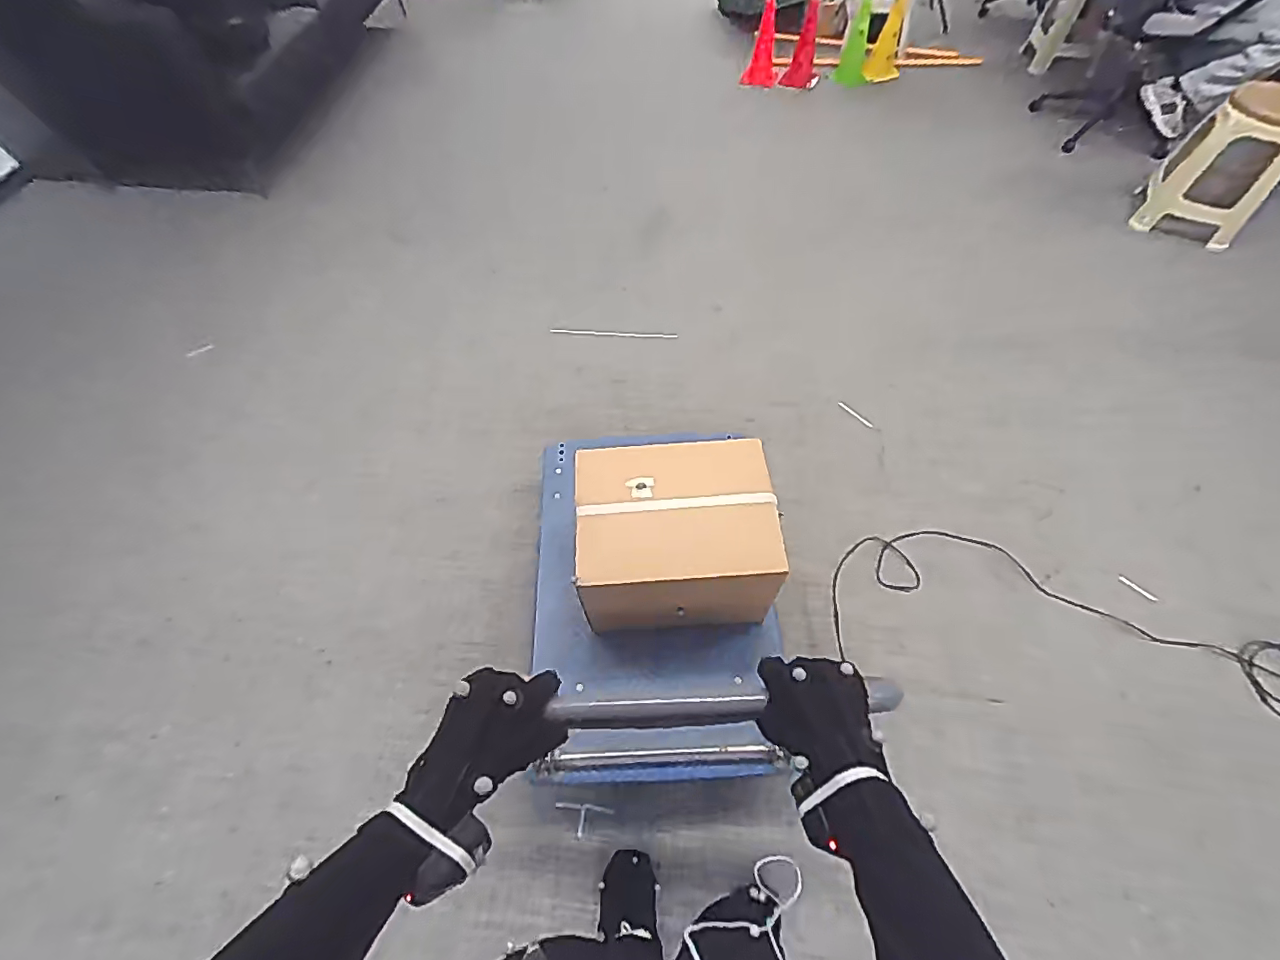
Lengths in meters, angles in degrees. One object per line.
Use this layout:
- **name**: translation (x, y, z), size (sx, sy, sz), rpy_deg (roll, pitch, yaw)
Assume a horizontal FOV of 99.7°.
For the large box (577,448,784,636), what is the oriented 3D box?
- **large box**: translation (0.078, 0.152, 1.232), size (0.408, 0.320, 0.320), rpy_deg (-4, 57, 1)
